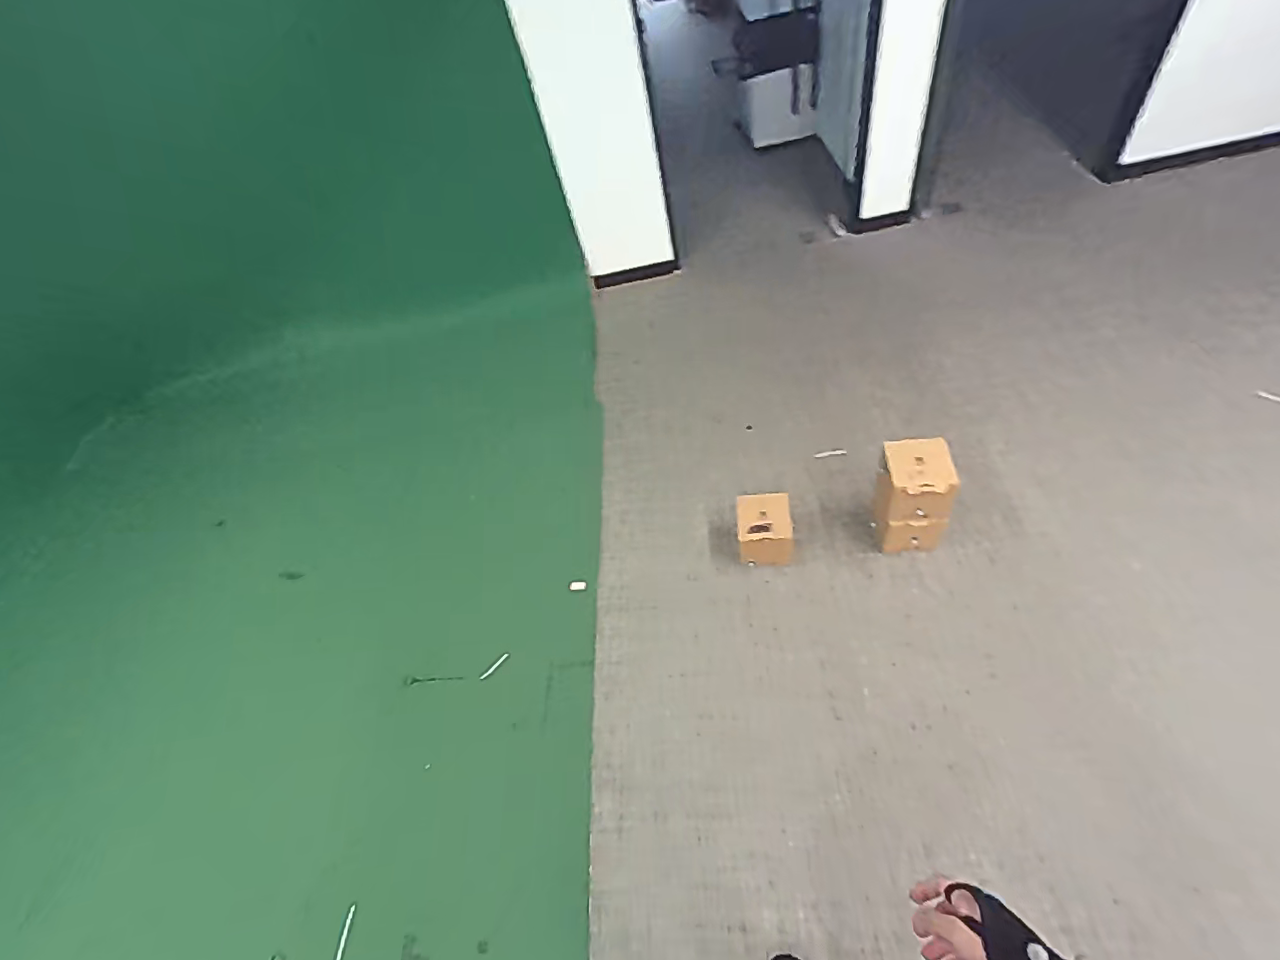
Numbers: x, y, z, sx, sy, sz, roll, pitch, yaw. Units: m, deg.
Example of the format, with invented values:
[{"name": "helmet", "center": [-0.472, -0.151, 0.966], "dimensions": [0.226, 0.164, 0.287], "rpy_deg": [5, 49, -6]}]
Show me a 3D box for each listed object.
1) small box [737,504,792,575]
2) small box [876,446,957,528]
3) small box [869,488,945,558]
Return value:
[{"name": "small box", "center": [0.410, 0.203, 1.784], "dimensions": [0.168, 0.176, 0.179], "rpy_deg": [-4, 50, 11]}, {"name": "small box", "center": [0.801, 0.024, 1.585], "dimensions": [0.168, 0.176, 0.179], "rpy_deg": [-4, 51, 13]}, {"name": "small box", "center": [0.834, 0.134, 1.704], "dimensions": [0.168, 0.176, 0.179], "rpy_deg": [-7, 51, 9]}]
